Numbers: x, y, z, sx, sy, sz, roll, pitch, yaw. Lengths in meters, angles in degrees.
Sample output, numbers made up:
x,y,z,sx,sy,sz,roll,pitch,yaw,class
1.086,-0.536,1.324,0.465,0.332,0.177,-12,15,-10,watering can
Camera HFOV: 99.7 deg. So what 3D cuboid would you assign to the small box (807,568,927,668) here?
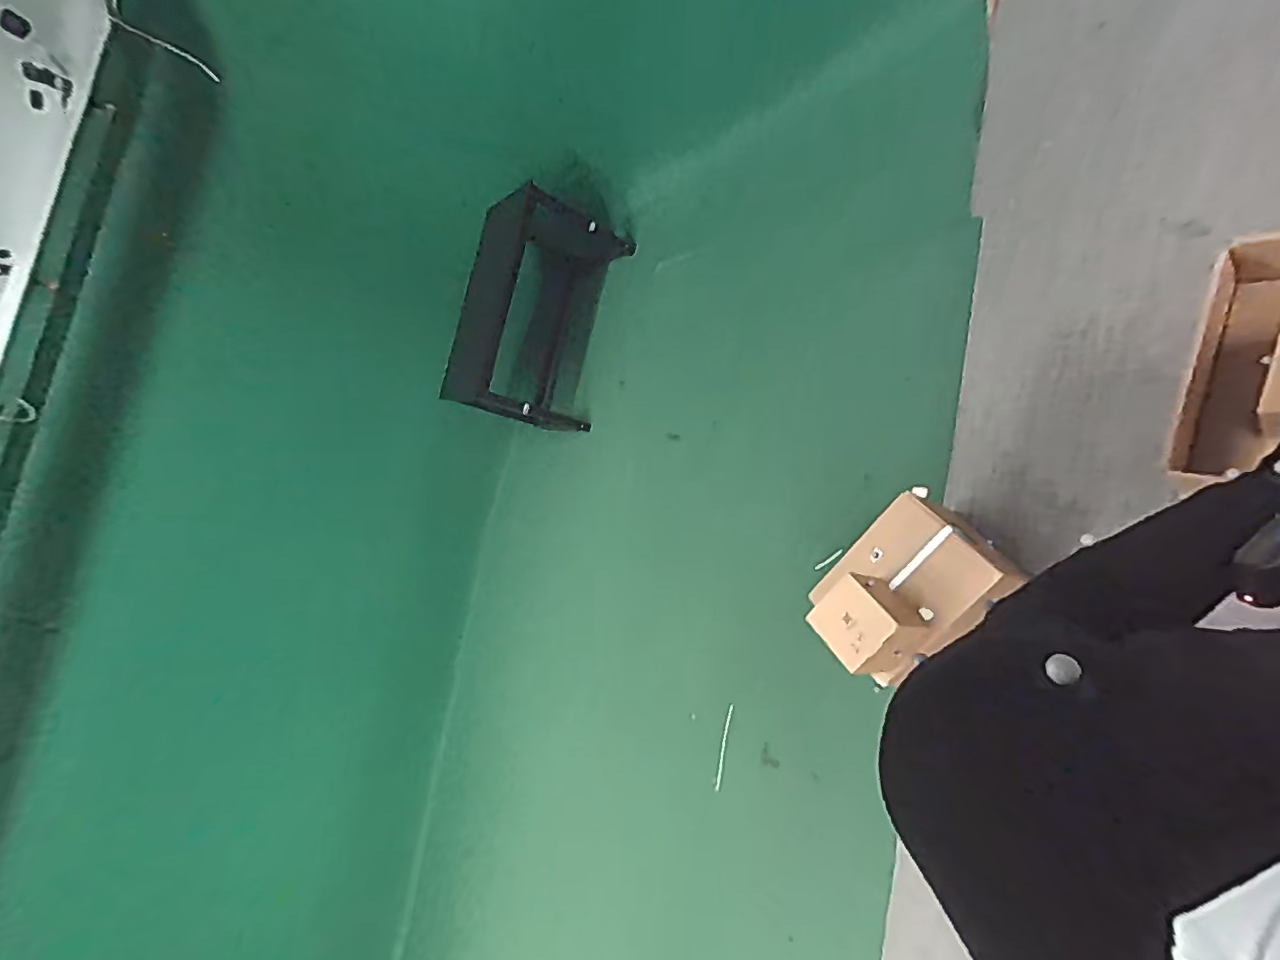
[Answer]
x,y,z,sx,sy,sz,roll,pitch,yaw,class
0.555,0.341,1.324,0.168,0.176,0.179,-57,43,21,small box
